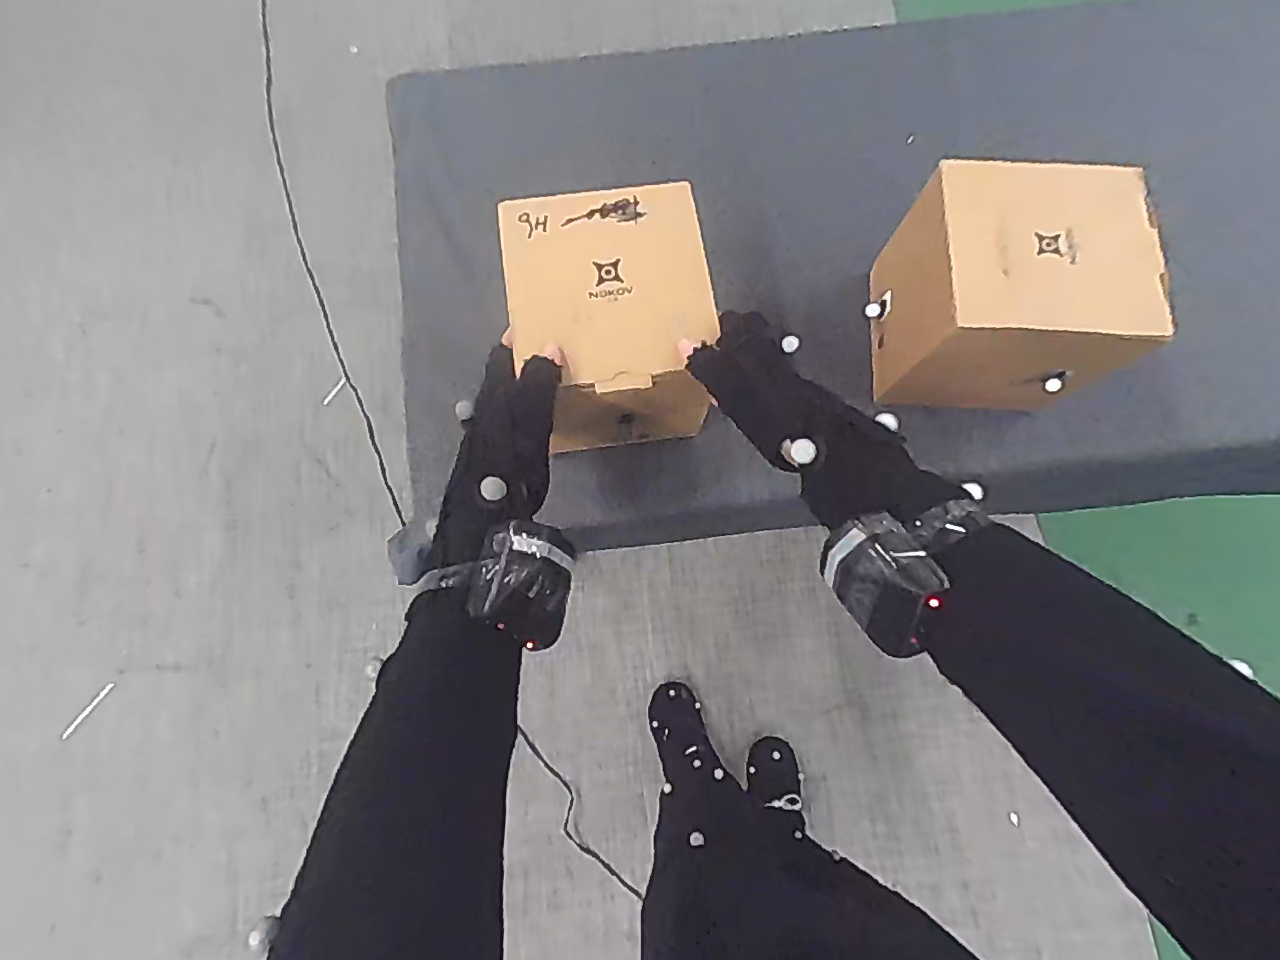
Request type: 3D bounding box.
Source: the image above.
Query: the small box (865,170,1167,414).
[{"bbox_3d":[0.348,-0.173,0.538,0.179,0.176,0.168,2,75,1],"label":"small box"}]

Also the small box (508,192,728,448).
[{"bbox_3d":[-0.022,-0.136,0.518,0.168,0.176,0.179,-8,77,-4],"label":"small box"}]
